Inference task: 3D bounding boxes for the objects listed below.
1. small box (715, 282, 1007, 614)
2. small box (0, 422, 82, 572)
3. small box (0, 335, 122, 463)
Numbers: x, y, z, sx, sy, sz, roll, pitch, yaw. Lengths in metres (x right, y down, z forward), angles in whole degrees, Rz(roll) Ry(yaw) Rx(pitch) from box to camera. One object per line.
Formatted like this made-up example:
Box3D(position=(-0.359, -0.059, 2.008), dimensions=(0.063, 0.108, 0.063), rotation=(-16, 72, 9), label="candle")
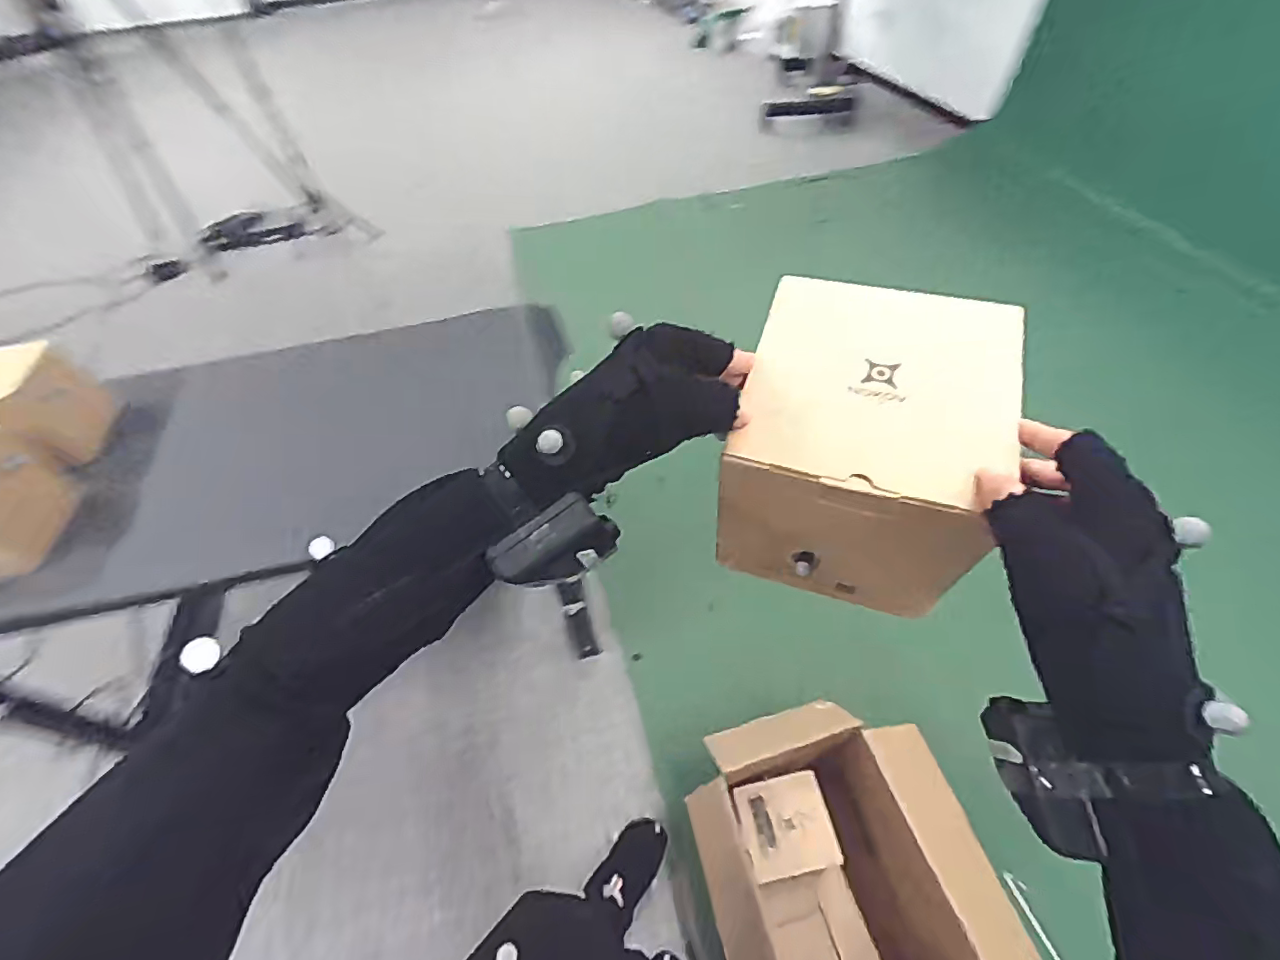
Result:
Box3D(position=(0.156, -0.020, 0.422), dimensions=(0.168, 0.176, 0.179), rotation=(13, 61, 15), label="small box")
Box3D(position=(-1.071, 0.037, 0.866), dimensions=(0.168, 0.176, 0.179), rotation=(-12, 51, -5), label="small box")
Box3D(position=(-1.138, -0.139, 1.011), dimensions=(0.168, 0.176, 0.179), rotation=(-13, 52, -7), label="small box")
